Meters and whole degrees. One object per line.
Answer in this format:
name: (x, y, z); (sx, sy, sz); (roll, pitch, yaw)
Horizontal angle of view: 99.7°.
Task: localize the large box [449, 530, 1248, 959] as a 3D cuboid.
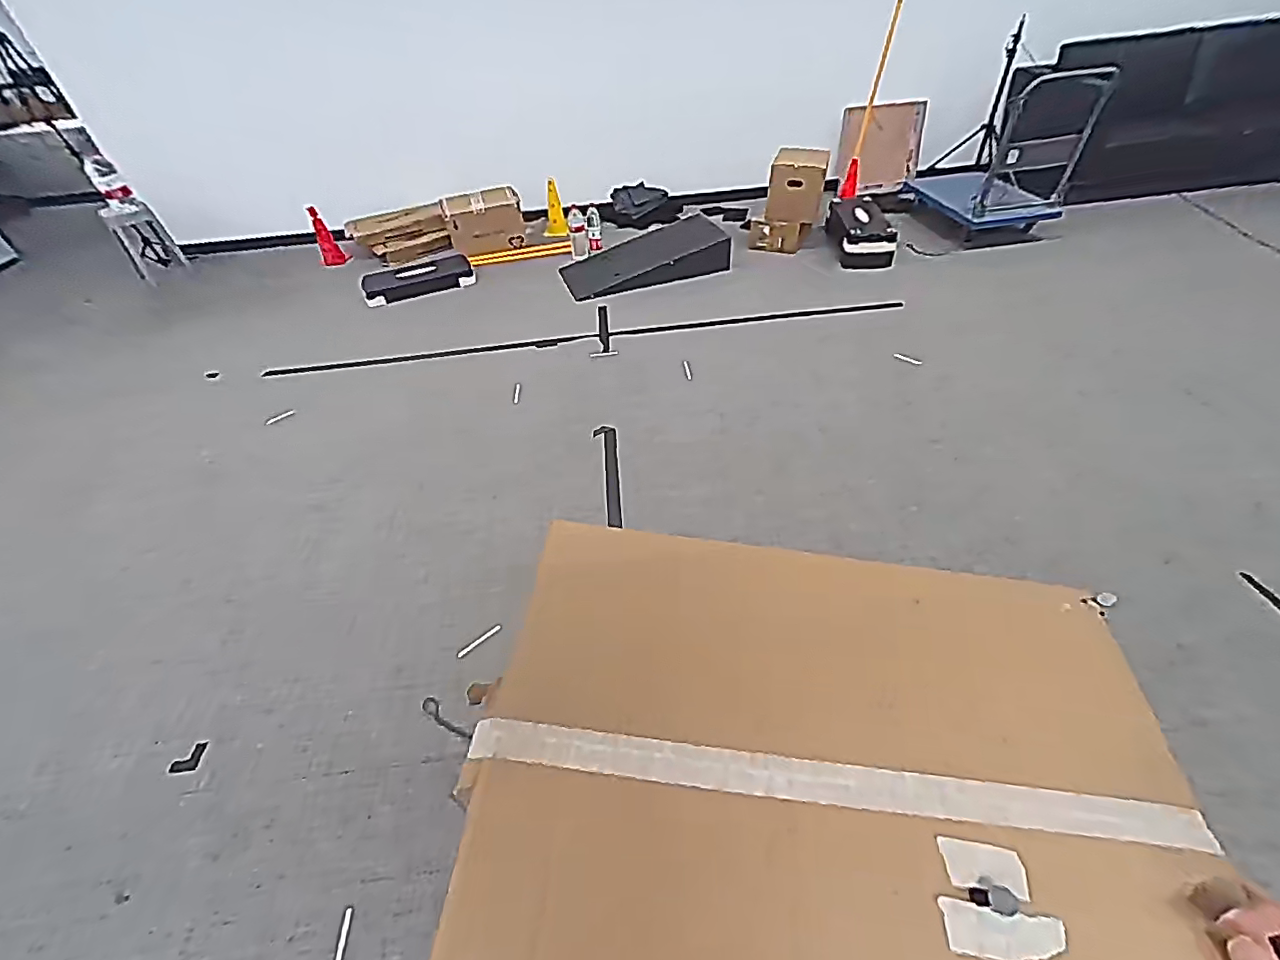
large box: (0.103, 0.272, 0.427); (0.408, 0.320, 0.320); (8, 49, 0)
